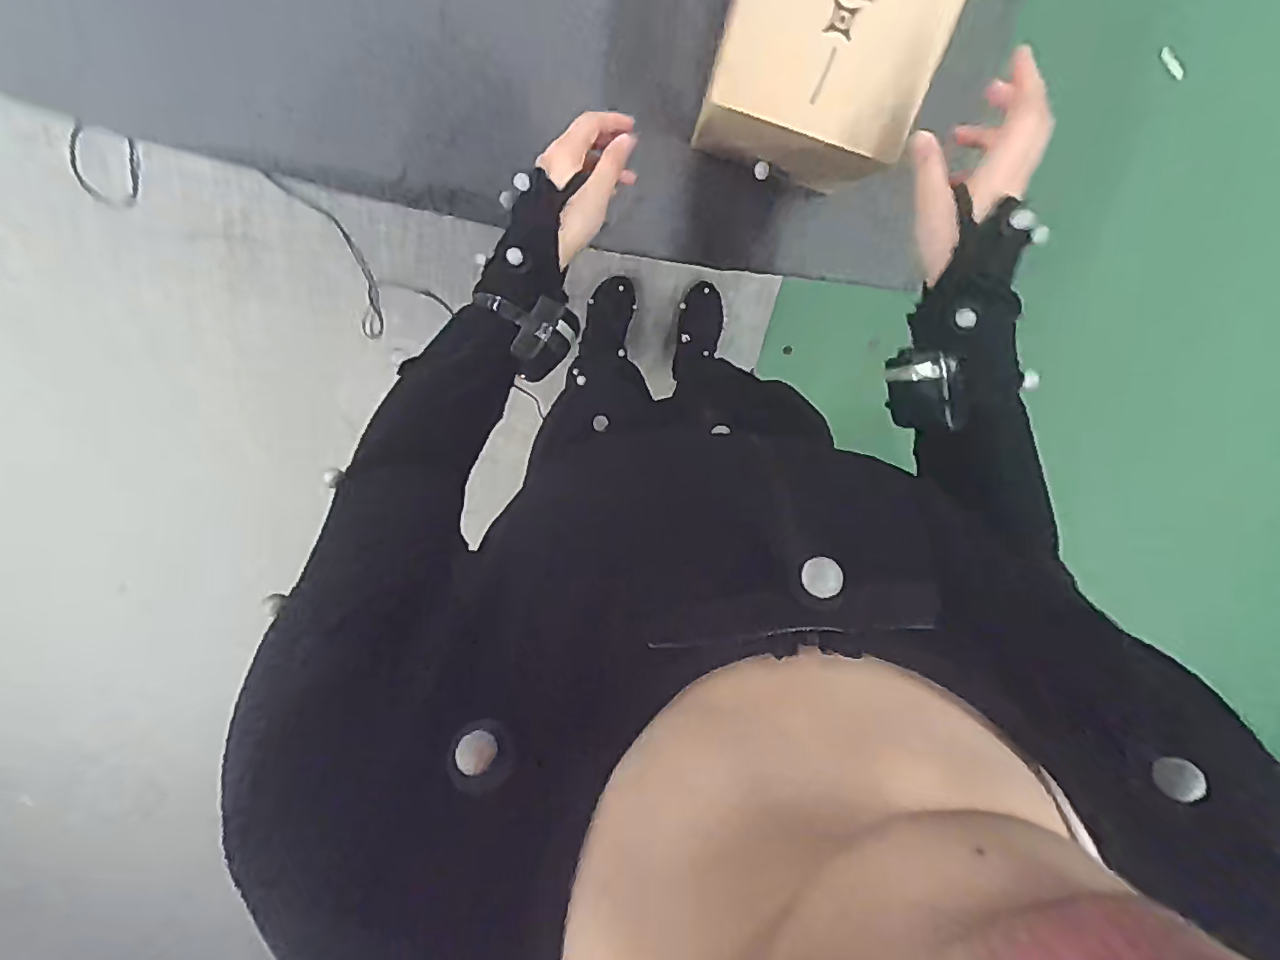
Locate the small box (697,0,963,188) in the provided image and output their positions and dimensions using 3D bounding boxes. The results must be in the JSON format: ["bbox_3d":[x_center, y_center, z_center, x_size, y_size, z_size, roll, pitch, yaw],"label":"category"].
[{"bbox_3d":[0.155,-0.386,0.479,0.168,0.176,0.179,16,110,-5],"label":"small box"}]

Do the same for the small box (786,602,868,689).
[{"bbox_3d":[0.564,0.510,1.663,0.168,0.176,0.179,15,112,-5],"label":"small box"}]
